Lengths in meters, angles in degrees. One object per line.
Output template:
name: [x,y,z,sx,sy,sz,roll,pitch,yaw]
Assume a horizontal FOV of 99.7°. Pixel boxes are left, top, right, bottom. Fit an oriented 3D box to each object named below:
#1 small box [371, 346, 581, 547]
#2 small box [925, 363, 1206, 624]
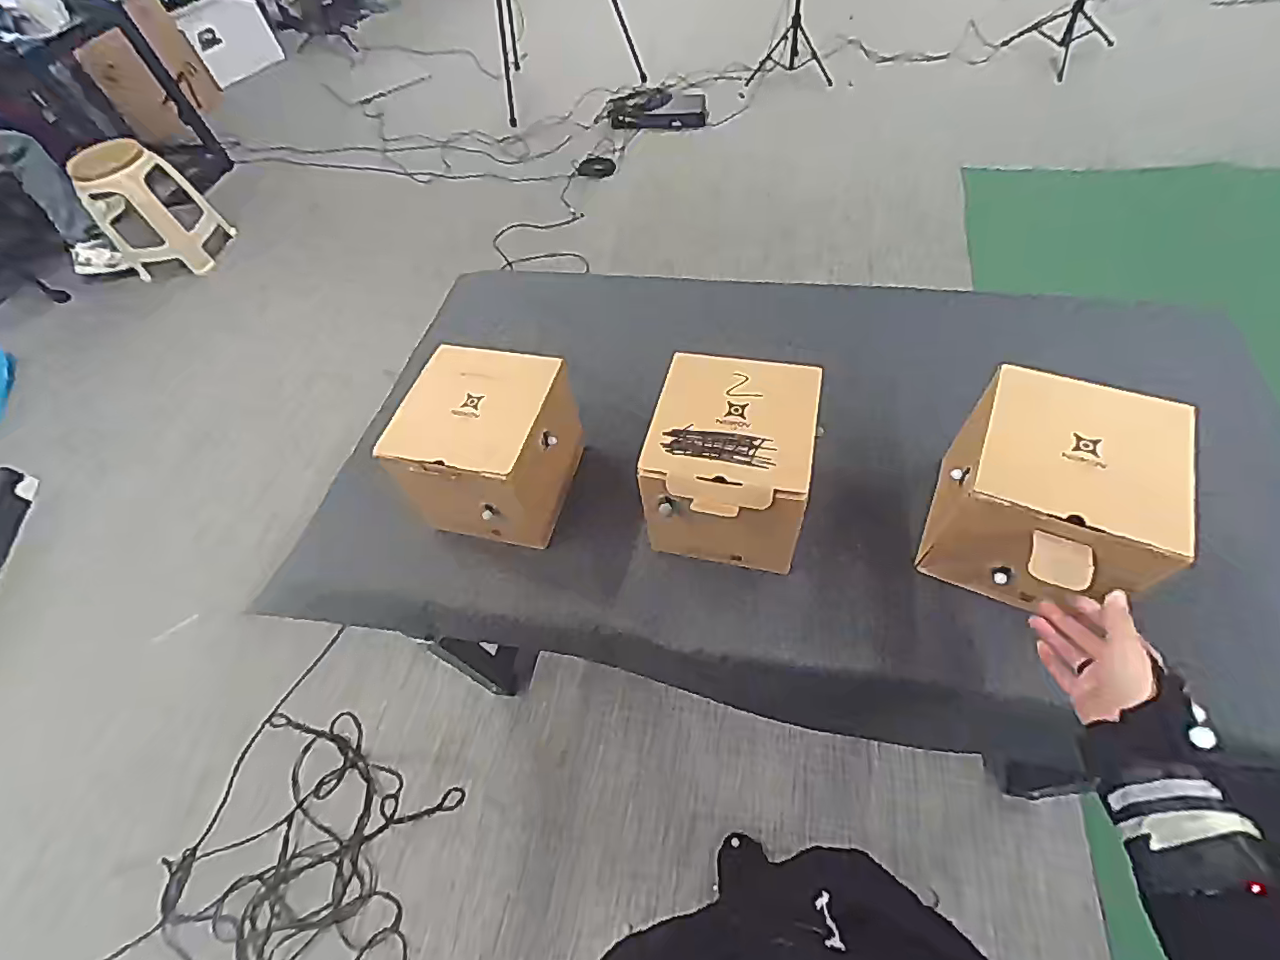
small box: [-0.182,-0.037,0.668,0.168,0.176,0.179,10,56,12]
small box: [0.417,0.017,0.555,0.168,0.176,0.179,20,61,19]
